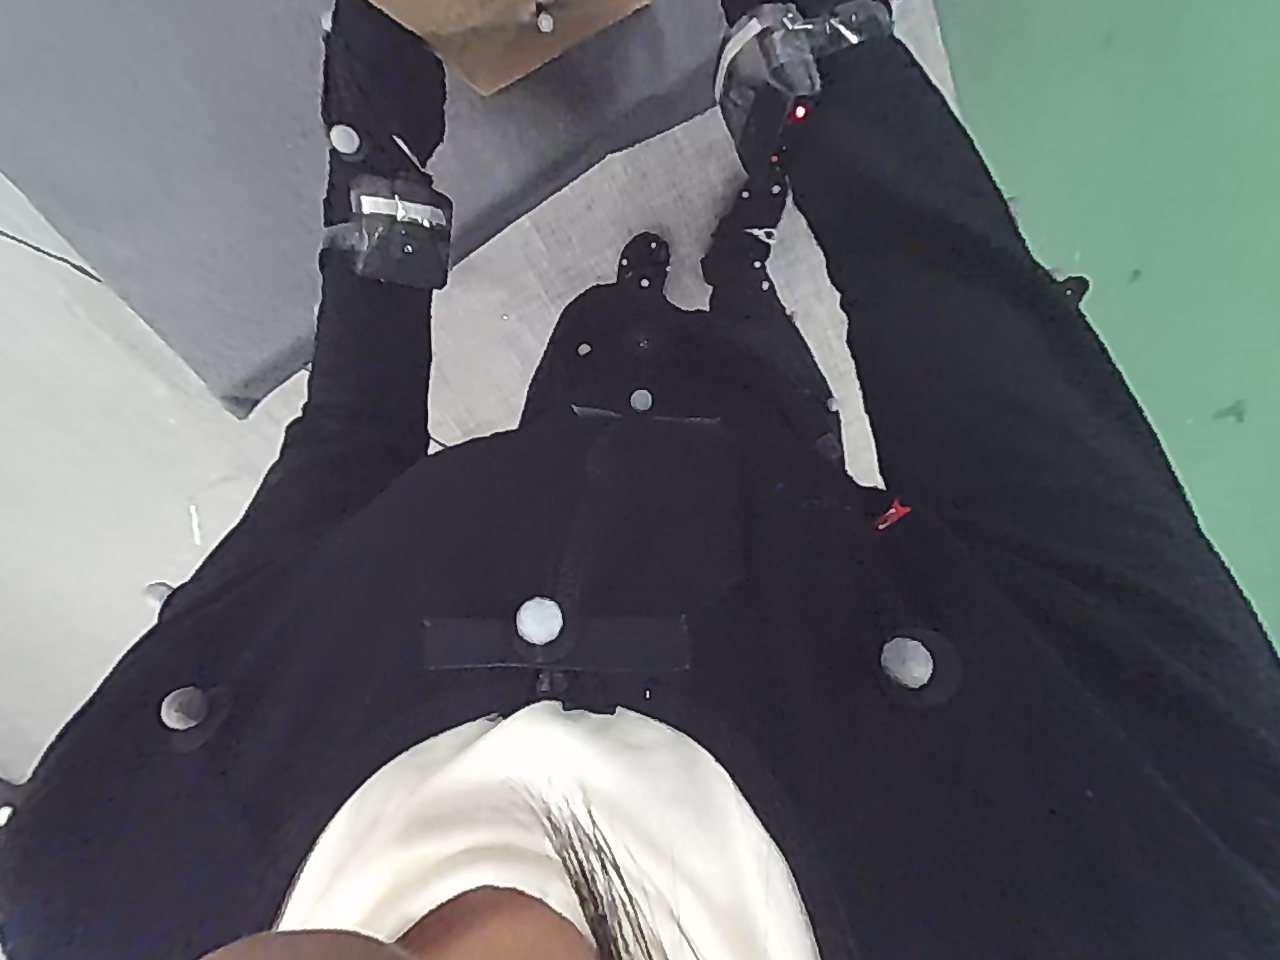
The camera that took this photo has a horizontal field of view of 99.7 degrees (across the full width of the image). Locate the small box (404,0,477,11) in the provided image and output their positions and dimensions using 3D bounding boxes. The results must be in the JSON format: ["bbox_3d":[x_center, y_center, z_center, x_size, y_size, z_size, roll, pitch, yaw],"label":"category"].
[{"bbox_3d":[-0.098,-0.353,0.236,0.168,0.176,0.179,-23,116,12],"label":"small box"}]

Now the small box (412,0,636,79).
[{"bbox_3d":[-0.095,-0.426,0.383,0.179,0.176,0.168,-23,115,10],"label":"small box"}]
